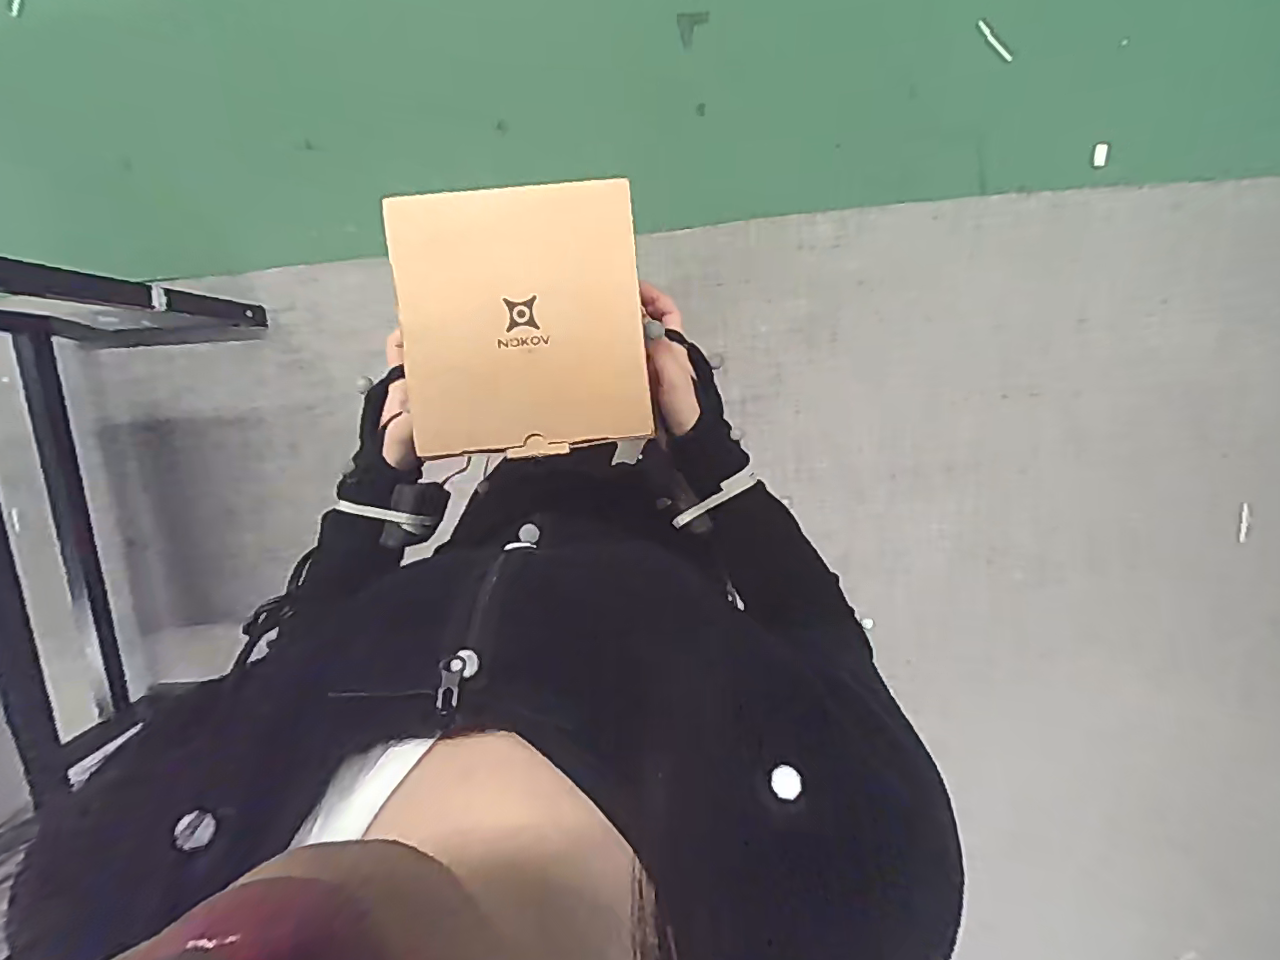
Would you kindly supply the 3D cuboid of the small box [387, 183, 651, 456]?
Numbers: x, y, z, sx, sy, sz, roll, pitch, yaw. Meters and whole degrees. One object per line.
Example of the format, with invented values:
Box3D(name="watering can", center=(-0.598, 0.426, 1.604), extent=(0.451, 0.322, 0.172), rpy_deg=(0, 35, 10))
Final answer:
Box3D(name="small box", center=(-0.086, -0.117, 0.453), extent=(0.168, 0.176, 0.179), rpy_deg=(-7, 97, -2))
